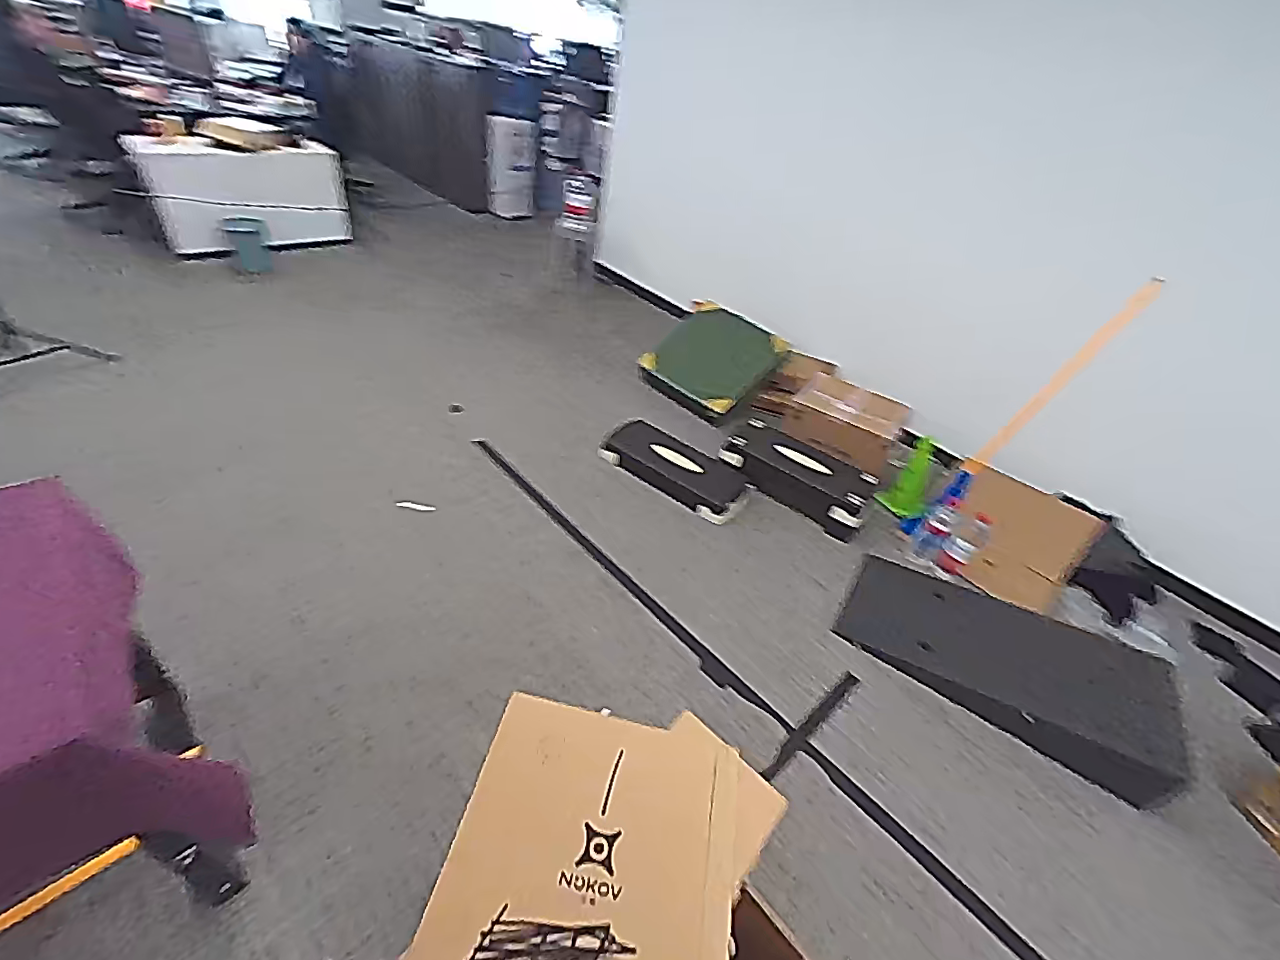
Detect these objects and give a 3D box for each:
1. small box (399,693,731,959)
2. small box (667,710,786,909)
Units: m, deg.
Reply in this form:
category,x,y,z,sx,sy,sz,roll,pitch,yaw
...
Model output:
category,x,y,z,sx,sy,sz,roll,pitch,yaw
small box,-0.042,0.282,0.369,0.168,0.176,0.179,13,42,3
small box,0.055,0.449,0.702,0.168,0.176,0.179,38,49,23
